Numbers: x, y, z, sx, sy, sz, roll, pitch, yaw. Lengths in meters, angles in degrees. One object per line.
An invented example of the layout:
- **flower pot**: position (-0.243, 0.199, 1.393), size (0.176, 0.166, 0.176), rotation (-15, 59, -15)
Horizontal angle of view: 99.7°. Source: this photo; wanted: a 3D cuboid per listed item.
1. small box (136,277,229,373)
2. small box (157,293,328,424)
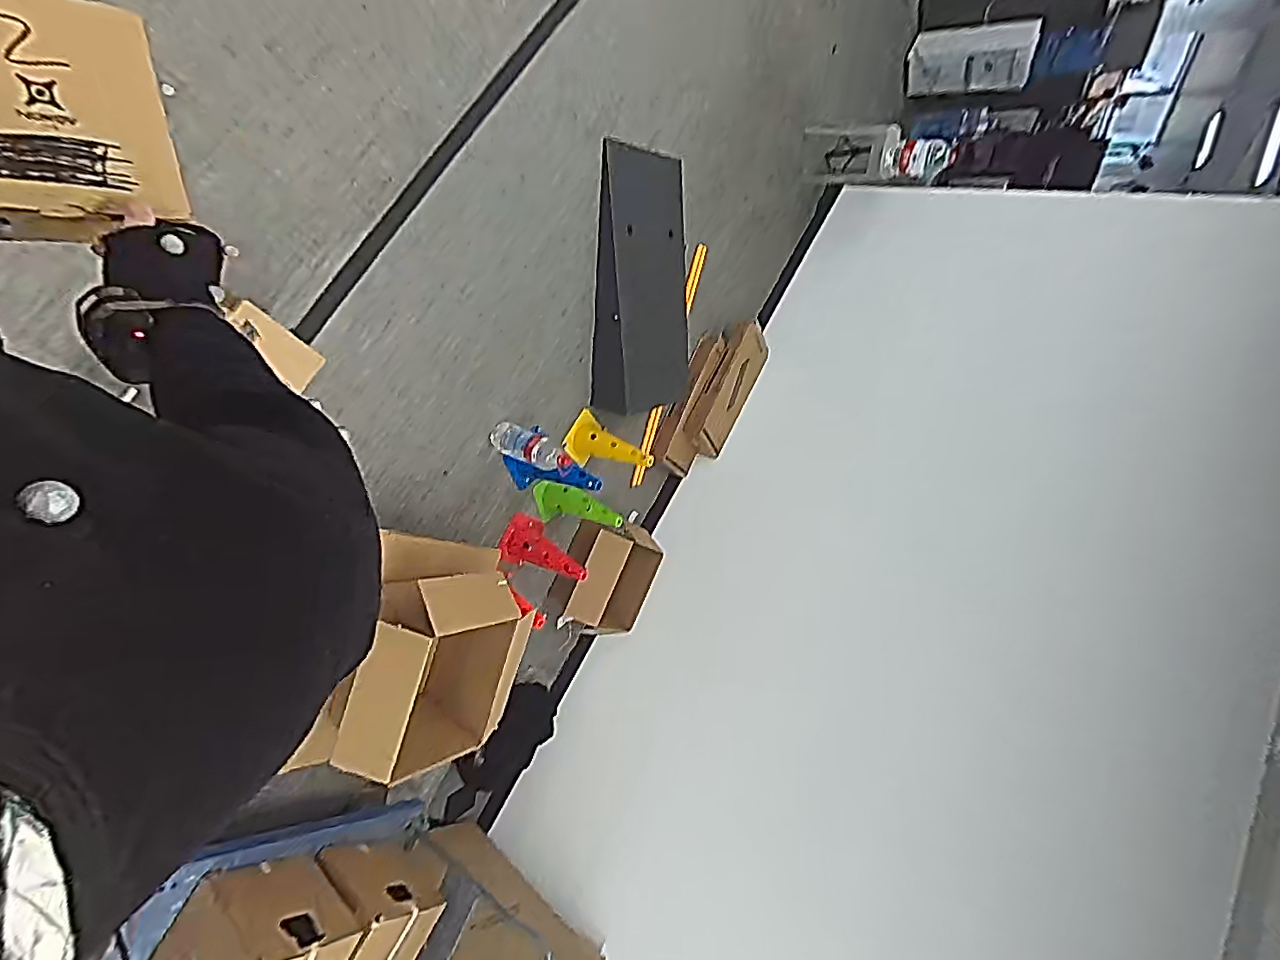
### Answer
- **small box**: position (-0.883, -0.291, 1.115), size (0.179, 0.176, 0.168), rotation (-62, 149, -12)
- **small box**: position (-0.755, -0.235, 1.029), size (0.168, 0.176, 0.179), rotation (-60, 149, -14)
